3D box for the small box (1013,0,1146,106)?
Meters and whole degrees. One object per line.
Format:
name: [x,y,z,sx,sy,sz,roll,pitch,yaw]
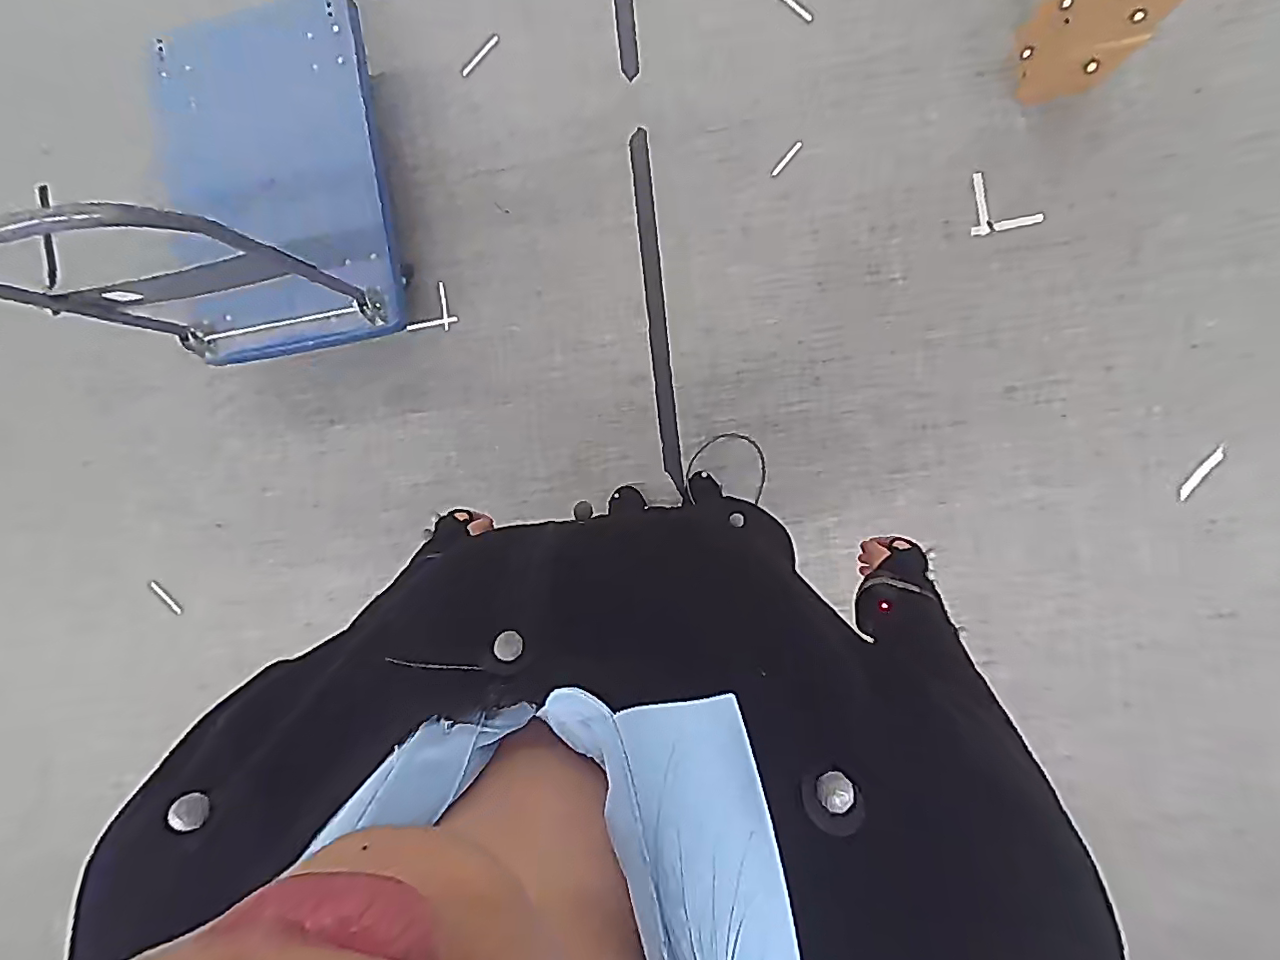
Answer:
small box: [1.037,-1.040,1.288,0.179,0.176,0.168,-9,91,7]
